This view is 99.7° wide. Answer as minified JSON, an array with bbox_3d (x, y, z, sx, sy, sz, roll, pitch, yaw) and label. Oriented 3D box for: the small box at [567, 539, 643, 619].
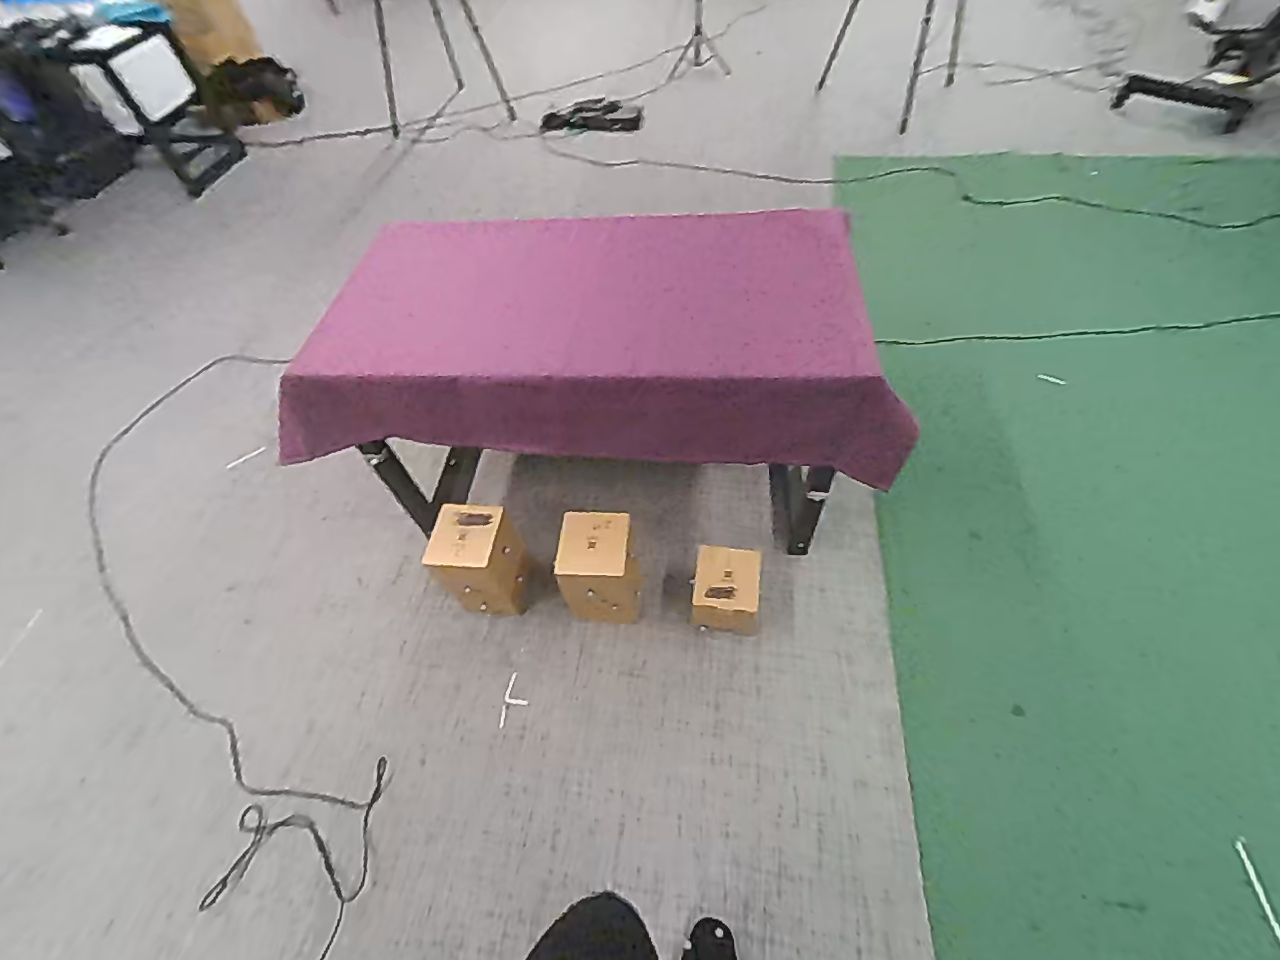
[{"bbox_3d":[-0.093,0.280,1.519,0.179,0.176,0.168,3,55,7],"label":"small box"}]
